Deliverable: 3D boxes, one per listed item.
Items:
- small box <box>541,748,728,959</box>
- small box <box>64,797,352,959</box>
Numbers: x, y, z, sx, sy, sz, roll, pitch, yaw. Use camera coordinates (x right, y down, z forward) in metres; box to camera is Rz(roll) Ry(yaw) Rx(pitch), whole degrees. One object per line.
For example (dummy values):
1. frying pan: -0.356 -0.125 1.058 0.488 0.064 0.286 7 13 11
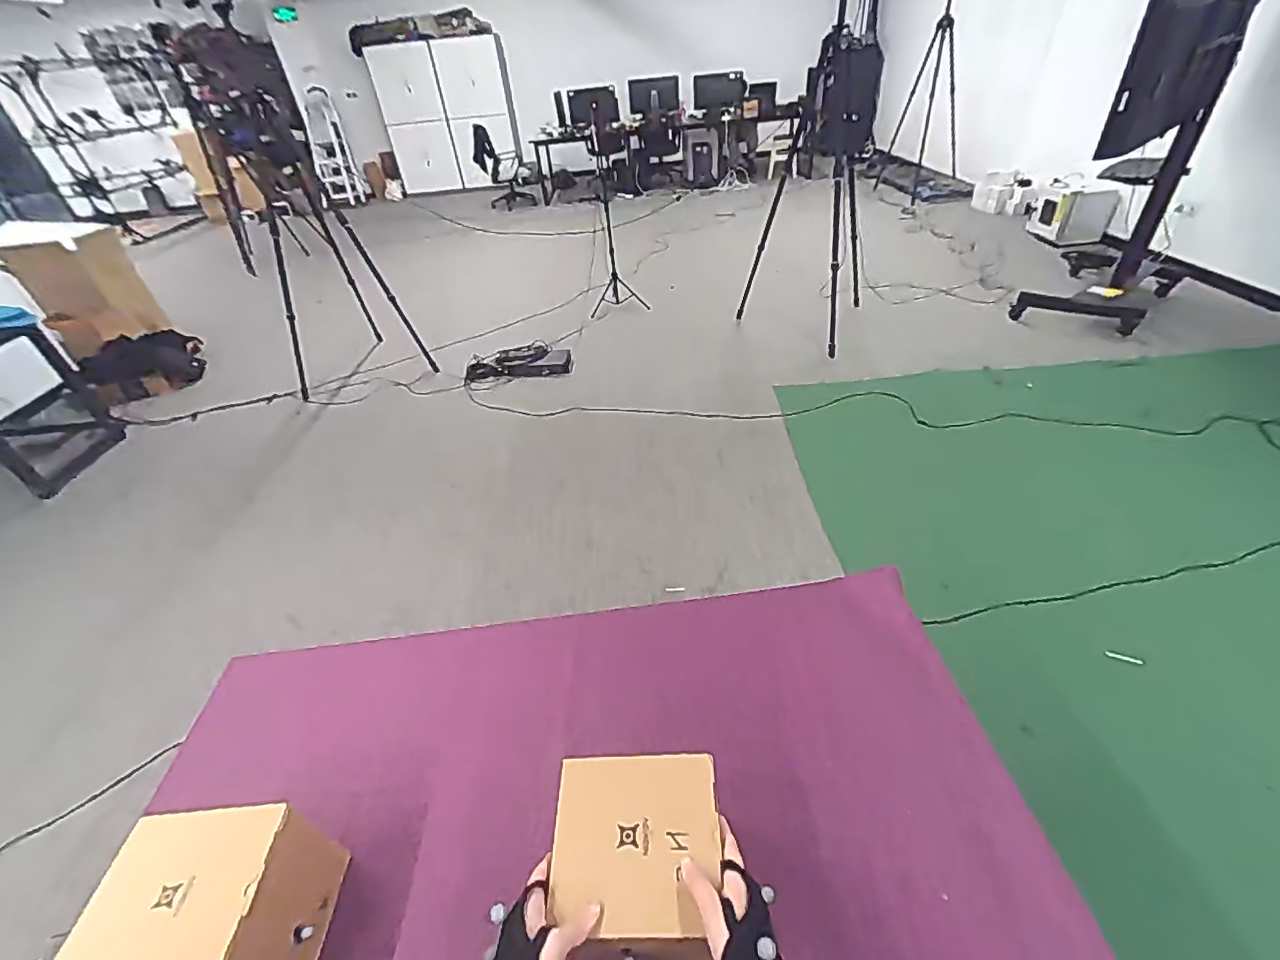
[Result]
1. small box: 0.003 0.428 0.615 0.179 0.176 0.168 -5 39 5
2. small box: -0.472 0.491 0.617 0.179 0.176 0.168 -6 38 1
